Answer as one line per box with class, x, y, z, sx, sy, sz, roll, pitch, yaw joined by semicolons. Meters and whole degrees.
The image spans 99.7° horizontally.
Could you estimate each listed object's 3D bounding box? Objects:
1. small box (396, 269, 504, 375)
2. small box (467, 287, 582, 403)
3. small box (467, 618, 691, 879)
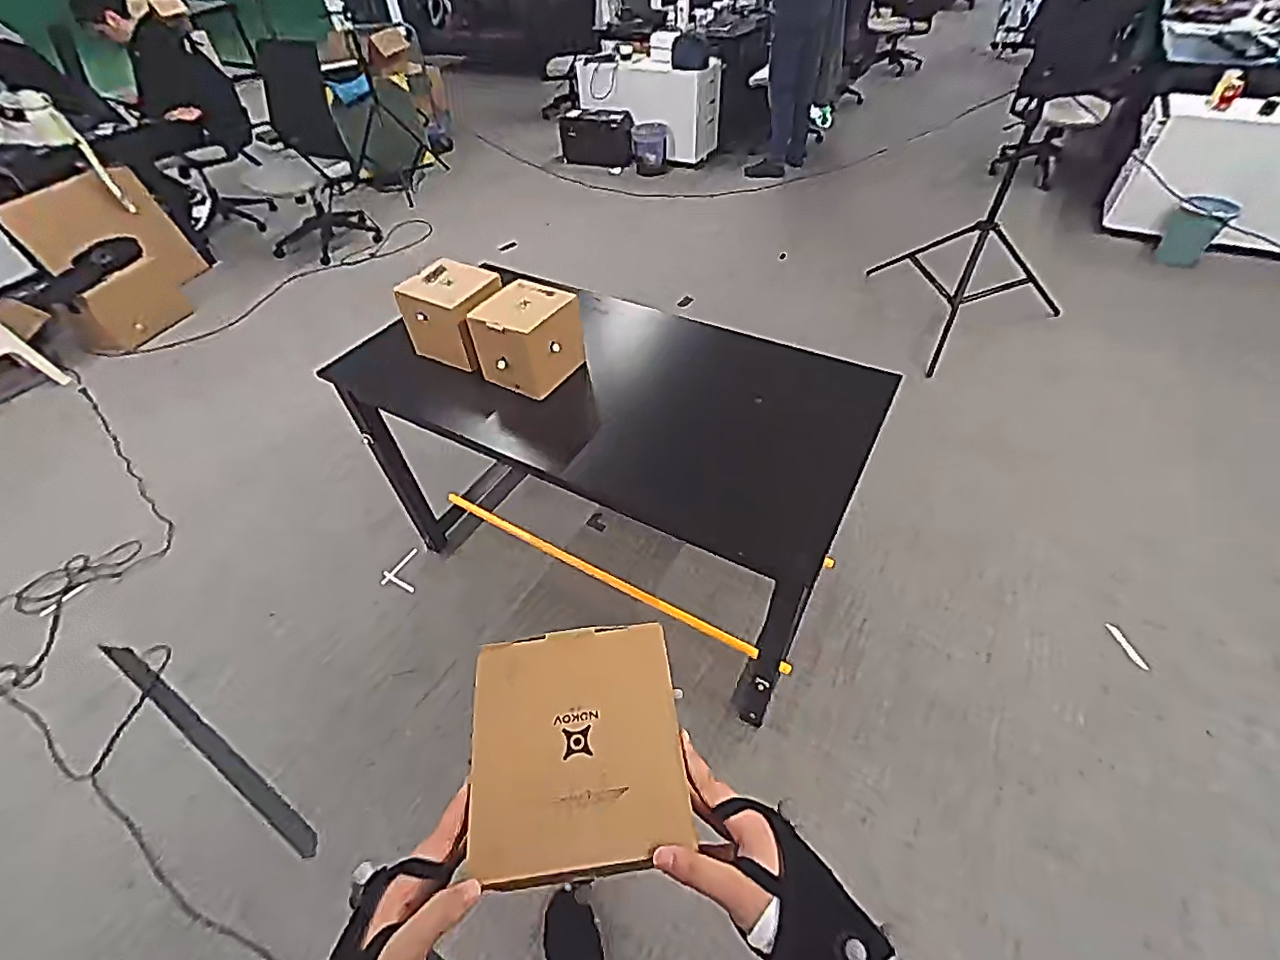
small box;-0.430;-0.372;1.279;0.179;0.176;0.168;21;52;20
small box;-0.244;-0.297;1.201;0.168;0.176;0.179;22;53;22
small box;-0.053;0.251;0.504;0.168;0.176;0.179;-6;53;-4
